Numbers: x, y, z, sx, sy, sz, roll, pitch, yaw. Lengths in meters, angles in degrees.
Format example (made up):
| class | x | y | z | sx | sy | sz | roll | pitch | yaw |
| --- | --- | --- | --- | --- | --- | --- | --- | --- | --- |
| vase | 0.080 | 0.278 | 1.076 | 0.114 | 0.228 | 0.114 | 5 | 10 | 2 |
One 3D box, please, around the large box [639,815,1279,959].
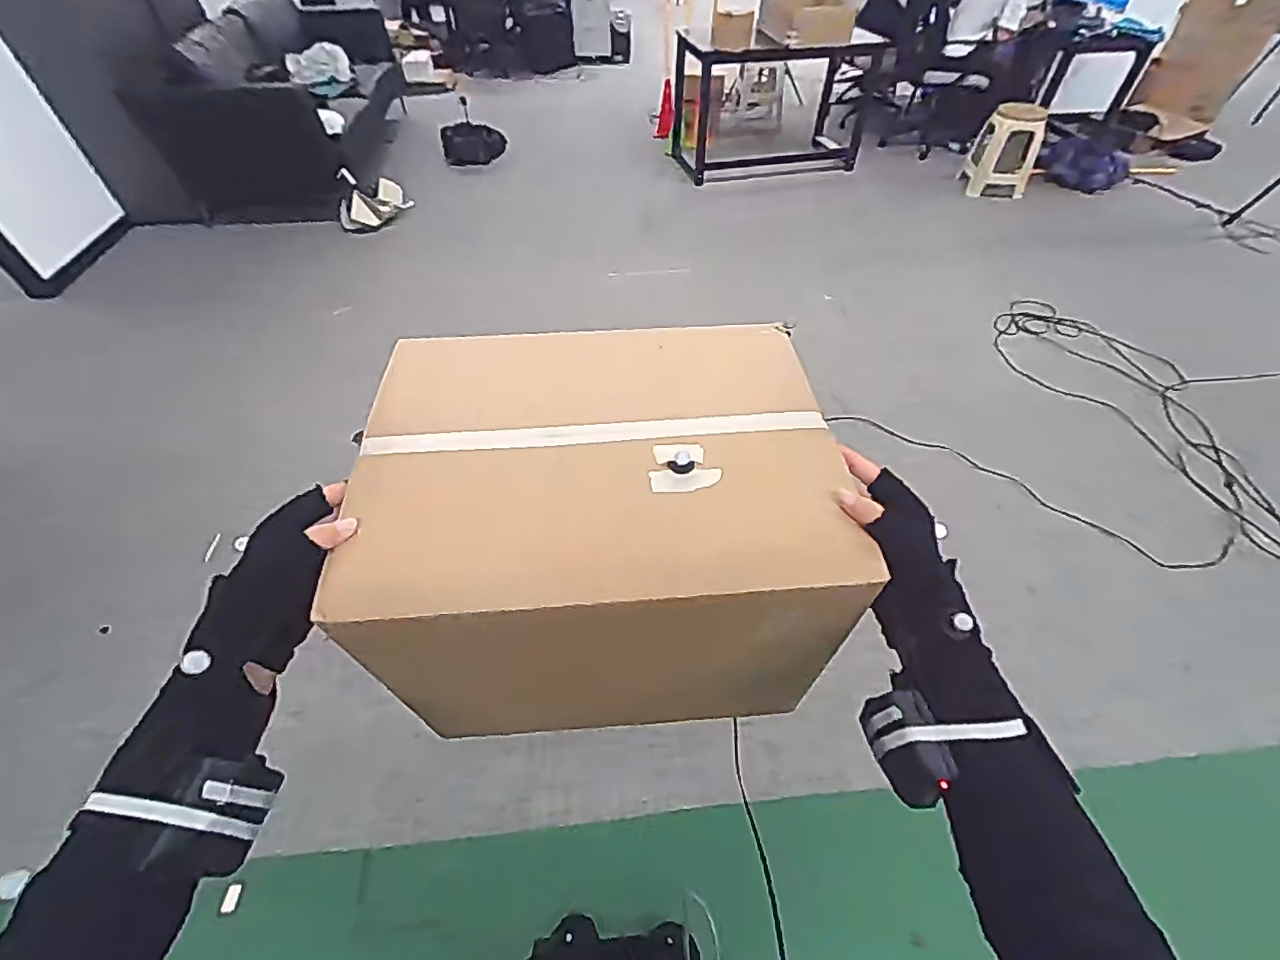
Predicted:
| class | x | y | z | sx | sy | sz | roll | pitch | yaw |
| --- | --- | --- | --- | --- | --- | --- | --- | --- | --- |
| large box | 0.129 | 0.358 | 0.100 | 0.320 | 0.320 | 0.408 | -15 | 11 | 30 |
